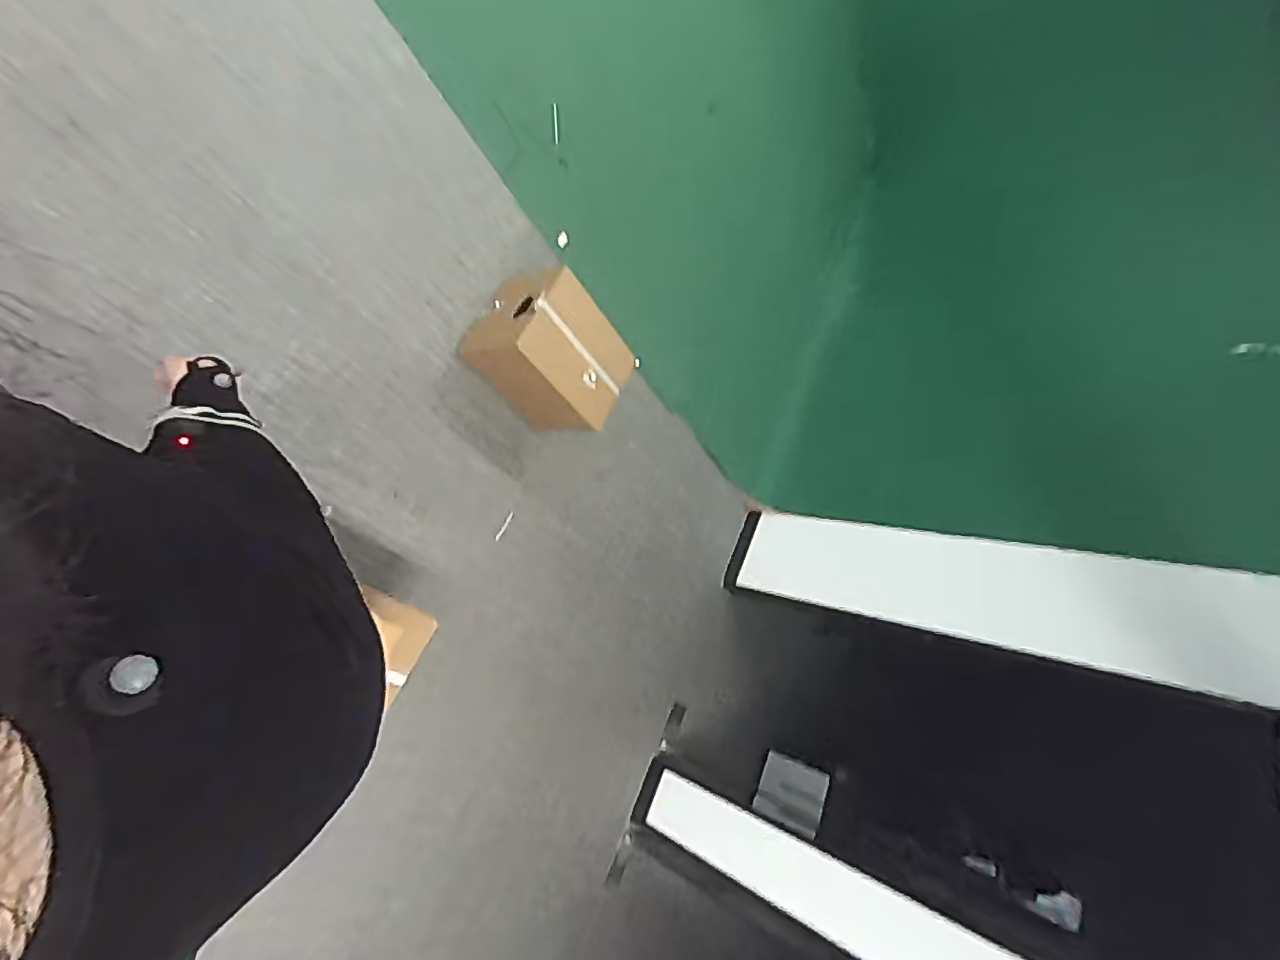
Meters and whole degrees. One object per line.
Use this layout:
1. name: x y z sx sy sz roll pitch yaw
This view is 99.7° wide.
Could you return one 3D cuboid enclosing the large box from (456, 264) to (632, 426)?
1. large box: -0.297 -0.414 1.745 0.408 0.320 0.320 48 60 -43
